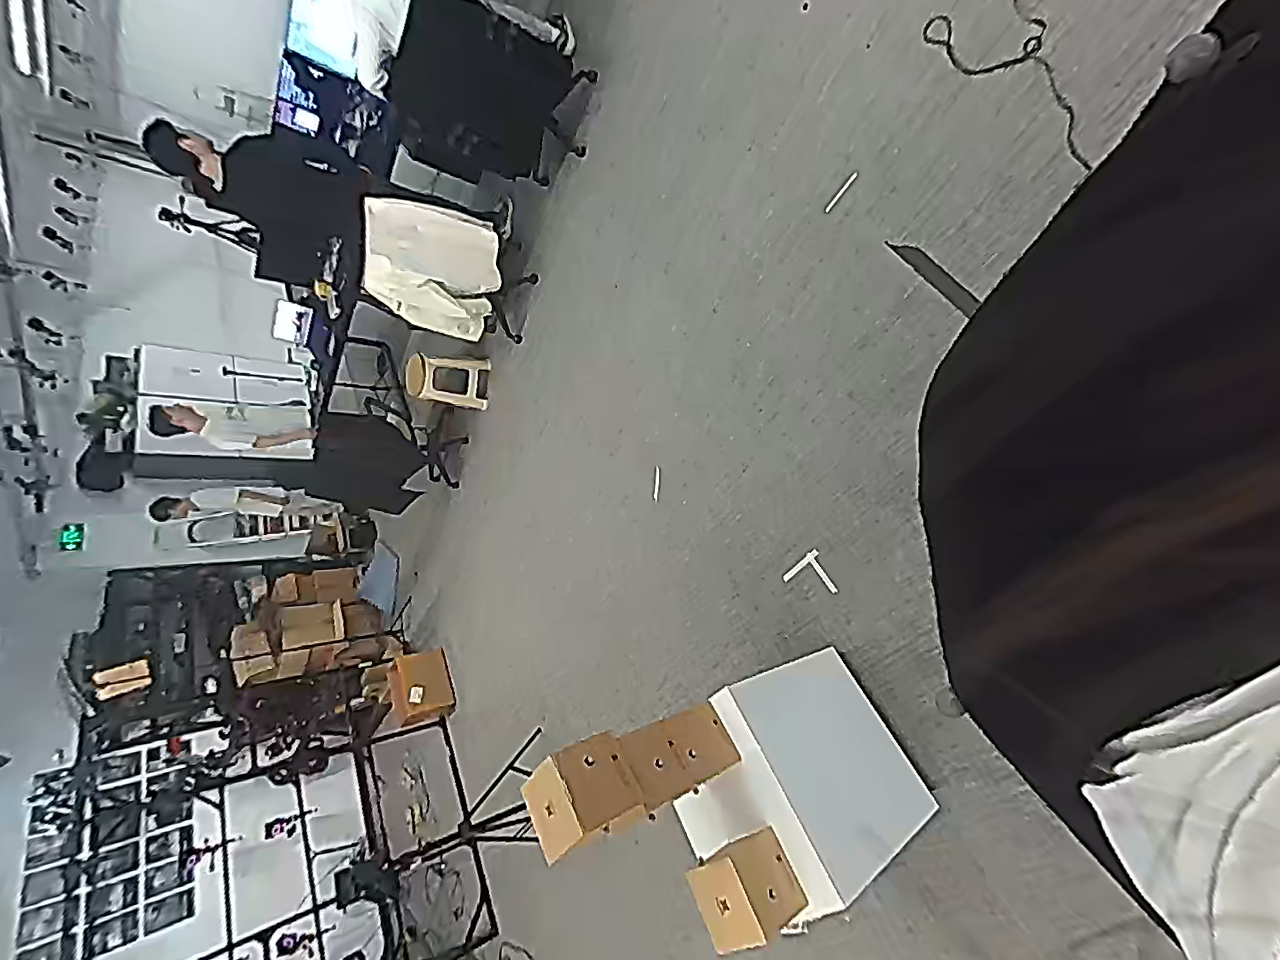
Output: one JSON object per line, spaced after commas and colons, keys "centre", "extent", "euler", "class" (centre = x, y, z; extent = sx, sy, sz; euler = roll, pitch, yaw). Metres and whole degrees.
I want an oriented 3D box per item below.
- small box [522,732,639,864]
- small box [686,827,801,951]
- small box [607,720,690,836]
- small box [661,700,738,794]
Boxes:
{"centre": [-0.125, 0.681, 1.174], "extent": [0.168, 0.176, 0.179], "euler": [55, 127, 33], "class": "small box"}
{"centre": [0.246, 0.942, 1.255], "extent": [0.179, 0.176, 0.168], "euler": [-51, 54, 35], "class": "small box"}
{"centre": [-0.004, 0.699, 1.284], "extent": [0.179, 0.176, 0.168], "euler": [-53, 54, 34], "class": "small box"}
{"centre": [0.118, 0.699, 1.395], "extent": [0.179, 0.176, 0.168], "euler": [-54, 54, 33], "class": "small box"}
